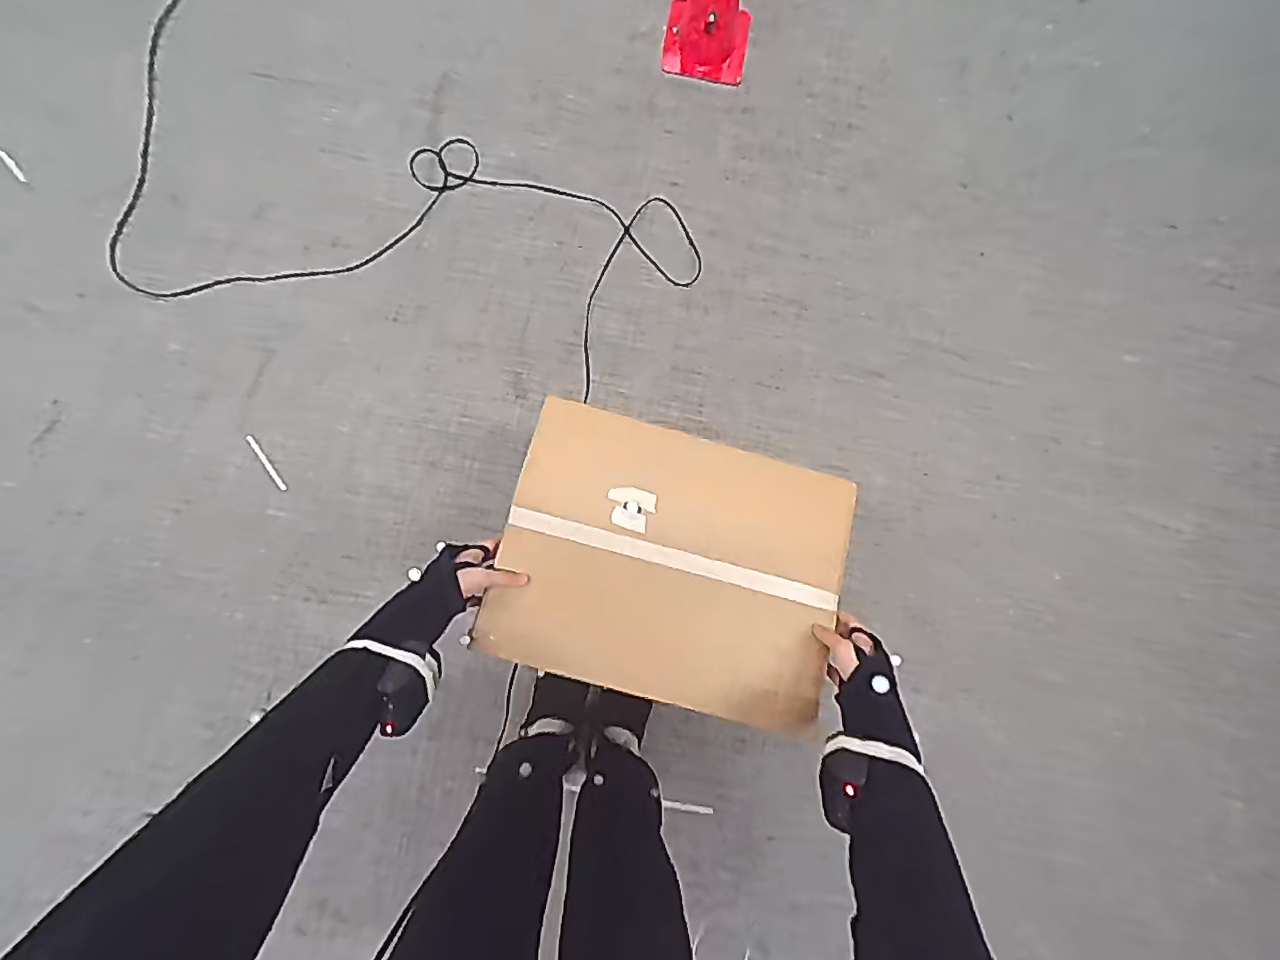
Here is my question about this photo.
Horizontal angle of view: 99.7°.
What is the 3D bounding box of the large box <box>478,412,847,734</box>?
[{"bbox_3d":[0.030,0.136,0.806,0.408,0.320,0.320,16,77,-1],"label":"large box"}]
